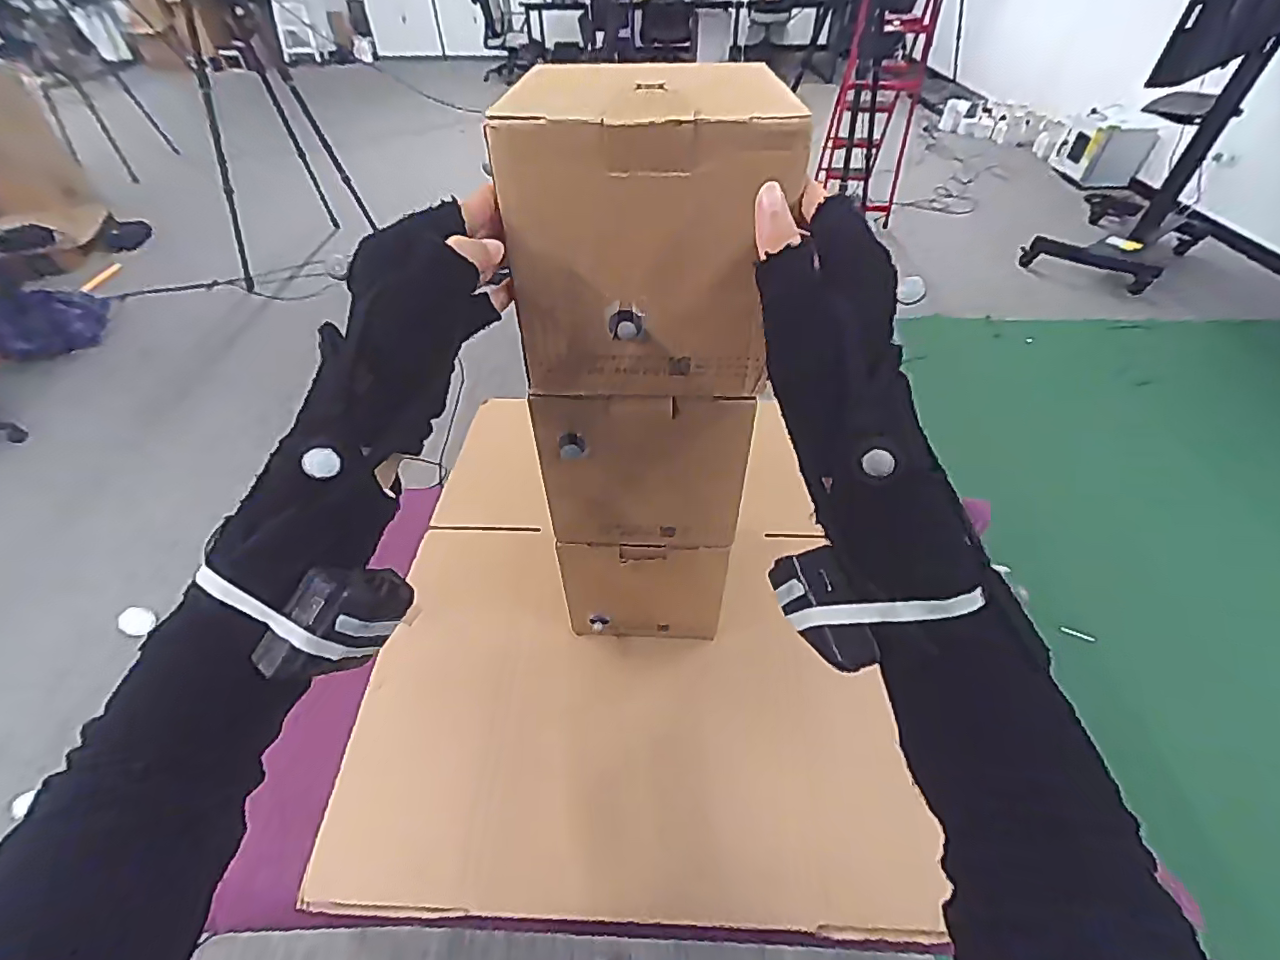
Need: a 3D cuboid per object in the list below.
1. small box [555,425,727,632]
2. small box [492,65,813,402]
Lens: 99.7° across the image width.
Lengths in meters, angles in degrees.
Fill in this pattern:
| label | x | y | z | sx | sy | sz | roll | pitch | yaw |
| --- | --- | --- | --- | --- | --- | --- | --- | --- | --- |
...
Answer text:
| label | x | y | z | sx | sy | sz | roll | pitch | yaw |
| --- | --- | --- | --- | --- | --- | --- | --- | --- | --- |
| small box | 0.008 | 0.057 | 0.616 | 0.168 | 0.176 | 0.179 | 2 | 45 | 3 |
| small box | 0.008 | -0.176 | 0.386 | 0.168 | 0.176 | 0.179 | 1 | 46 | 1 |
